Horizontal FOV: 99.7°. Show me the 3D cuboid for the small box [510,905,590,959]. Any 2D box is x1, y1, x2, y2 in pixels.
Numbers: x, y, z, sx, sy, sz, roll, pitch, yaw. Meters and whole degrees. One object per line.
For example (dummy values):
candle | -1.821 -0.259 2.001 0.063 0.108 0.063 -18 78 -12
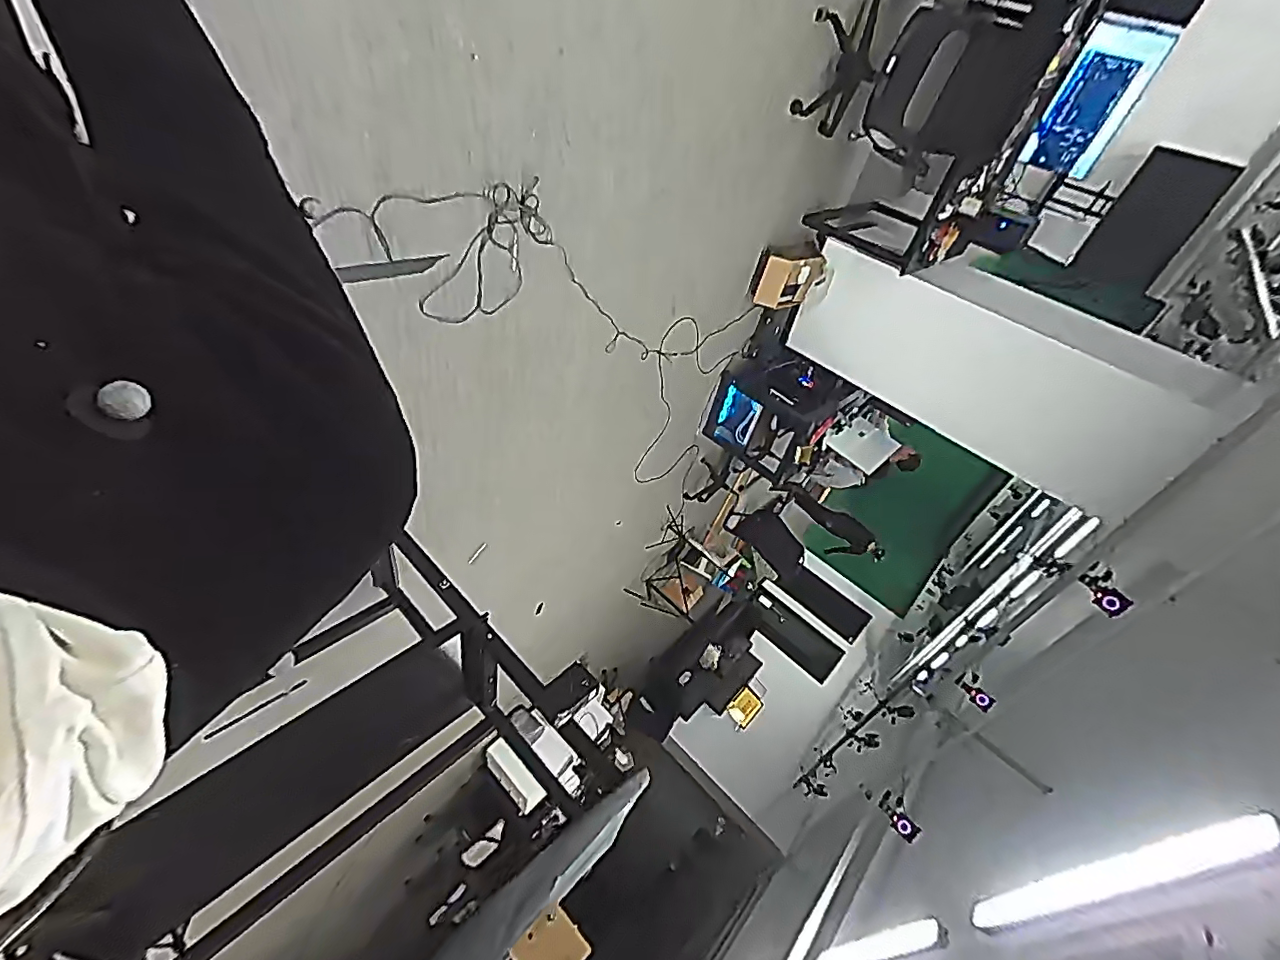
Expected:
small box | -0.265 1.385 1.570 0.168 0.176 0.179 -32 149 -36
